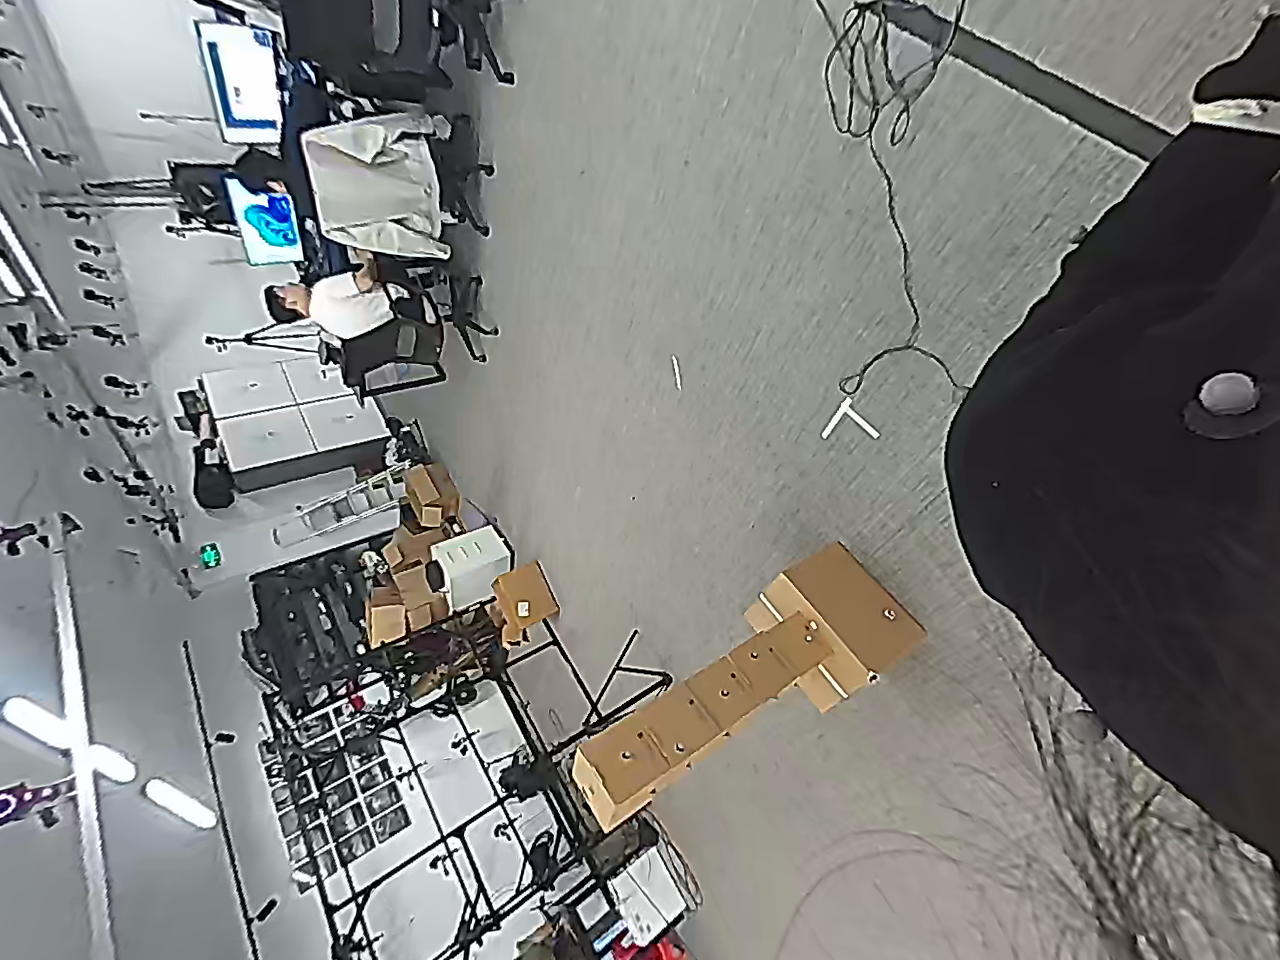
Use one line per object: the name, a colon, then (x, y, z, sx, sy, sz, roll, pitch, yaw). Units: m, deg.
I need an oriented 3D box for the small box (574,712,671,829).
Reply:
small box: (-0.044, 0.725, 1.364, 0.168, 0.176, 0.179, 46, 139, 34)

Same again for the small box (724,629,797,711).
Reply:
small box: (0.344, 0.583, 1.633, 0.168, 0.176, 0.179, 51, 144, 28)

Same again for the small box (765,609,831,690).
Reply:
small box: (0.473, 0.543, 1.722, 0.168, 0.176, 0.179, 51, 142, 26)

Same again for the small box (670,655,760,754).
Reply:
small box: (0.215, 0.635, 1.544, 0.168, 0.176, 0.179, 49, 141, 32)
